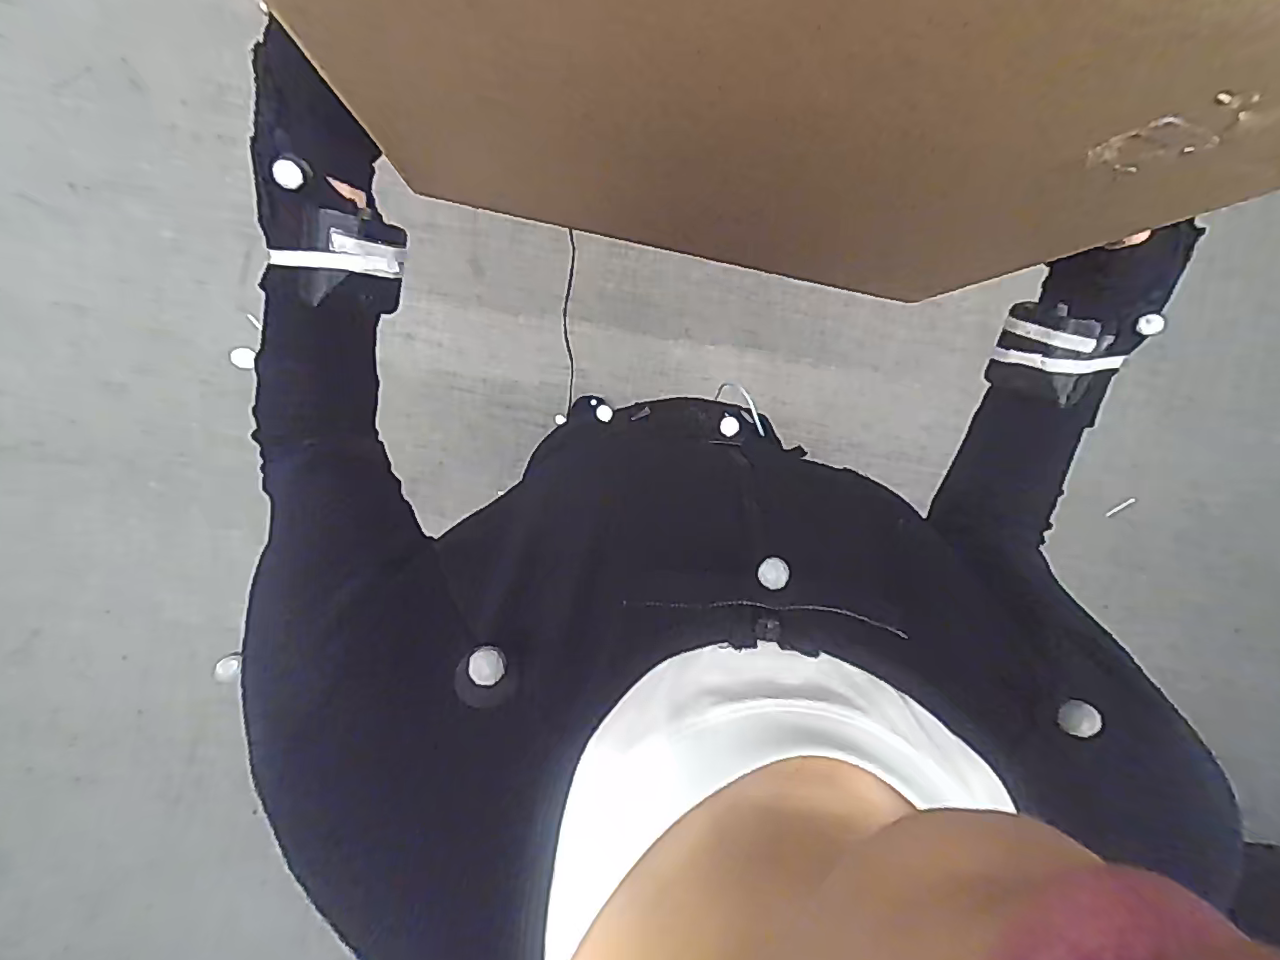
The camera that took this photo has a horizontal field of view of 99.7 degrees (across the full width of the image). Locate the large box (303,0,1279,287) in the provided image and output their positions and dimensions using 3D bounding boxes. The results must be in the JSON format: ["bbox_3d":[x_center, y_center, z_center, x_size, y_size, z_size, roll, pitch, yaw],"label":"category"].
[{"bbox_3d":[0.075,-0.314,0.256,0.408,0.320,0.320,9,97,-8],"label":"large box"}]
